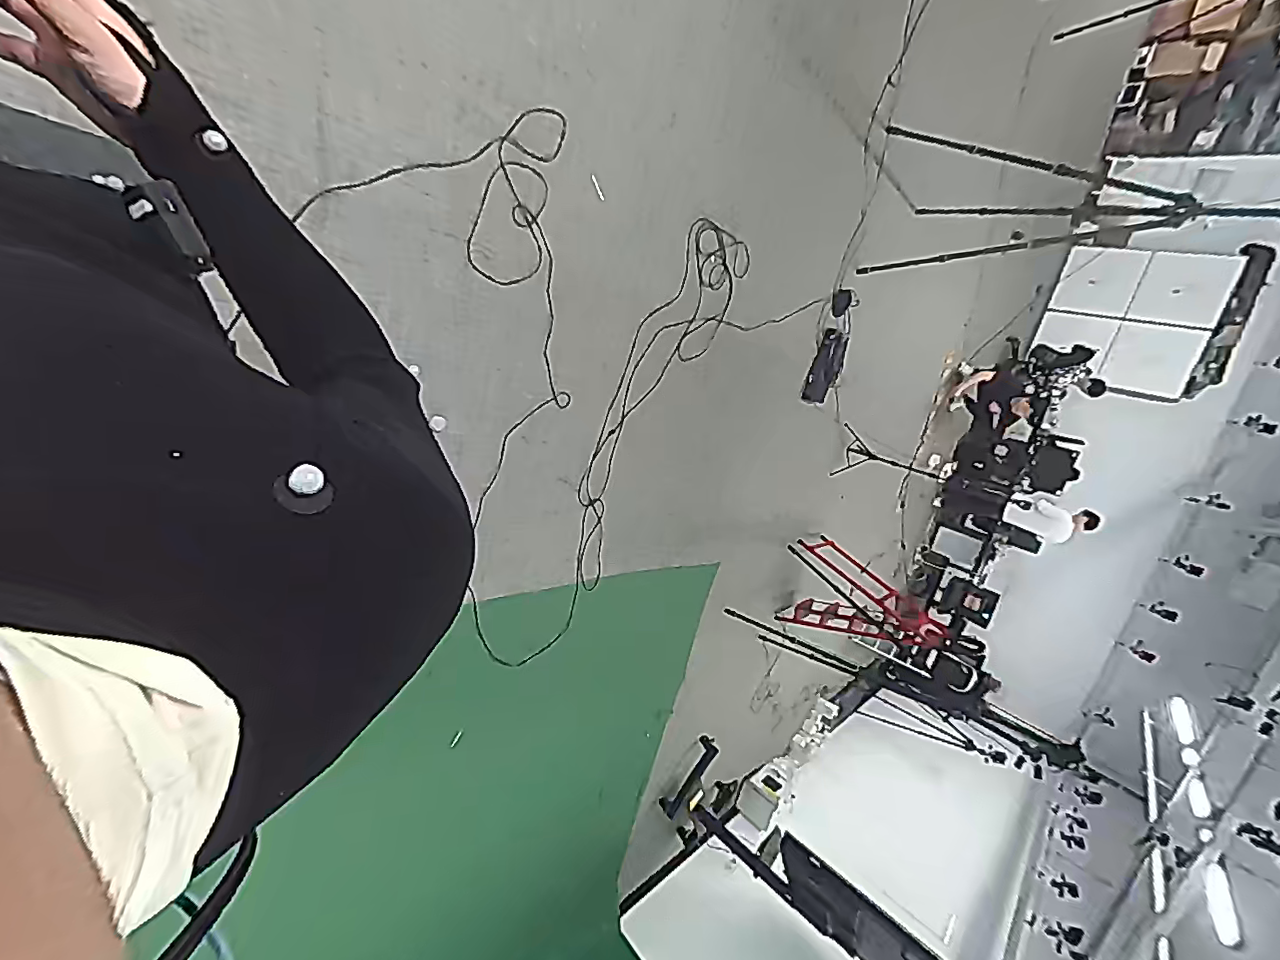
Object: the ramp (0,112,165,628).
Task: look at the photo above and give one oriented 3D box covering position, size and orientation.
[{"bbox_3d":[-1.250,-0.192,1.050,0.509,0.206,0.991,-3,111,-46],"label":"ramp"}]
